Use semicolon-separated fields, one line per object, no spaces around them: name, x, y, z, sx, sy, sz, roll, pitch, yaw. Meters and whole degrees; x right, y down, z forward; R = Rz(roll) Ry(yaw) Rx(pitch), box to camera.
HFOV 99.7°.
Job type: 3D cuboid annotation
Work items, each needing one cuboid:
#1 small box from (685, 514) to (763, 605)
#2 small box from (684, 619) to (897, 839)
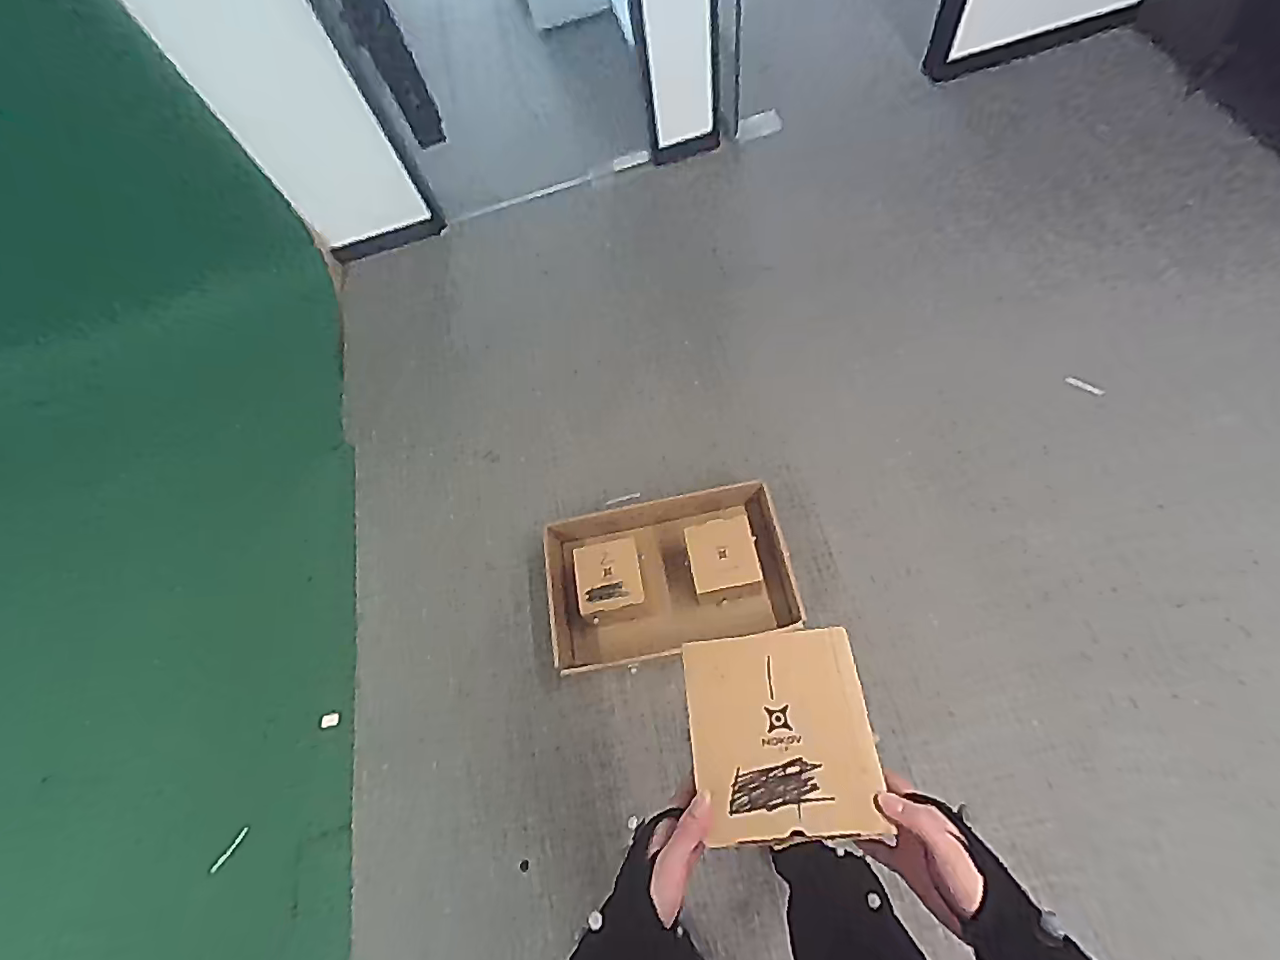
small box;0.215;0.211;1.405;0.168;0.176;0.179;-12;64;5
small box;0.141;0.260;0.564;0.168;0.176;0.179;-7;58;5
